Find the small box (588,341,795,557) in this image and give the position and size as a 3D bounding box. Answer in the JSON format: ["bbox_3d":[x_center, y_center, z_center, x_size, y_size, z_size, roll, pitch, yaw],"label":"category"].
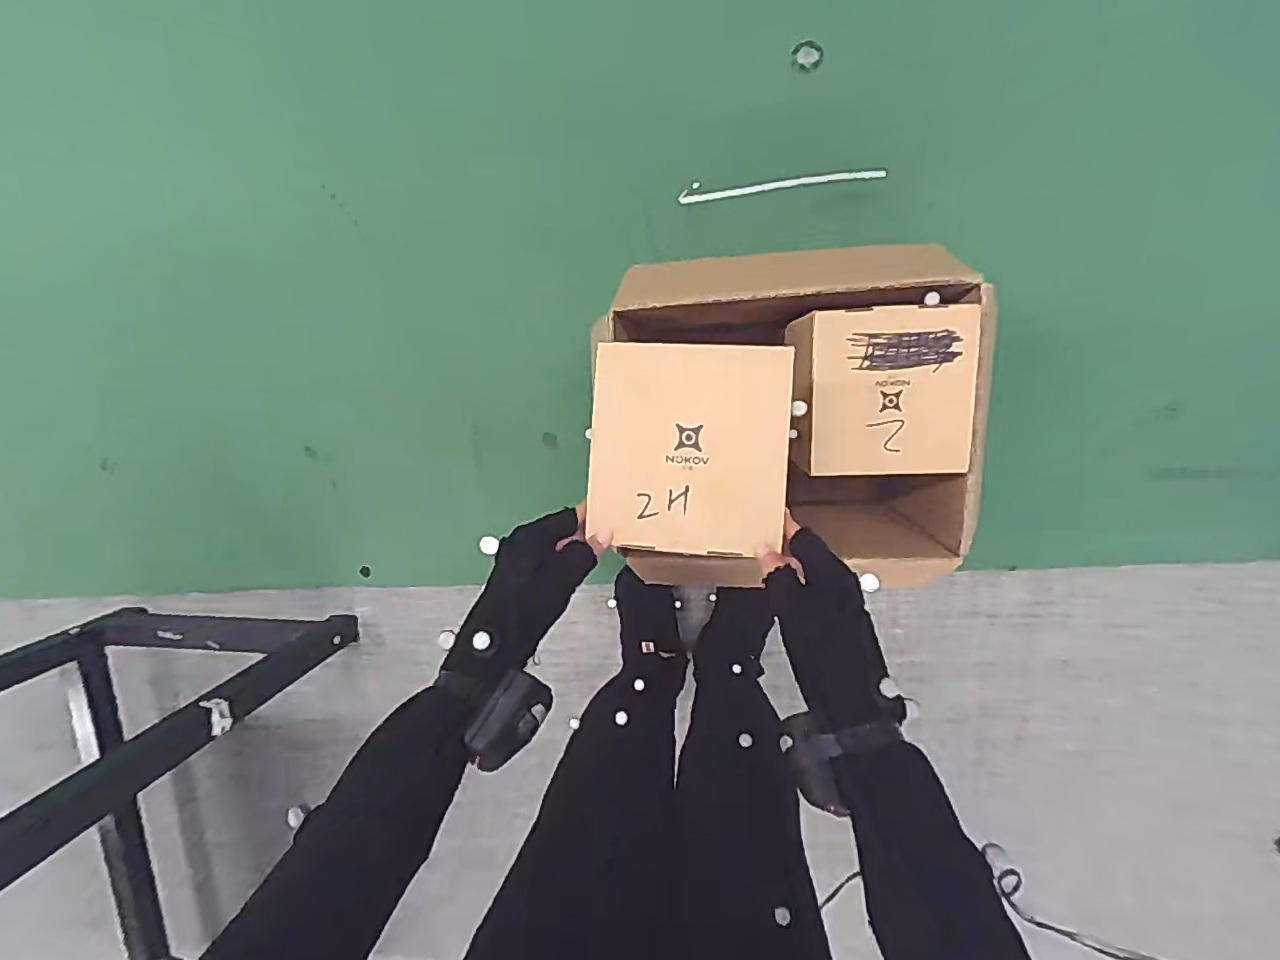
[{"bbox_3d":[0.052,-0.027,0.537,0.168,0.176,0.179,4,90,9],"label":"small box"}]
